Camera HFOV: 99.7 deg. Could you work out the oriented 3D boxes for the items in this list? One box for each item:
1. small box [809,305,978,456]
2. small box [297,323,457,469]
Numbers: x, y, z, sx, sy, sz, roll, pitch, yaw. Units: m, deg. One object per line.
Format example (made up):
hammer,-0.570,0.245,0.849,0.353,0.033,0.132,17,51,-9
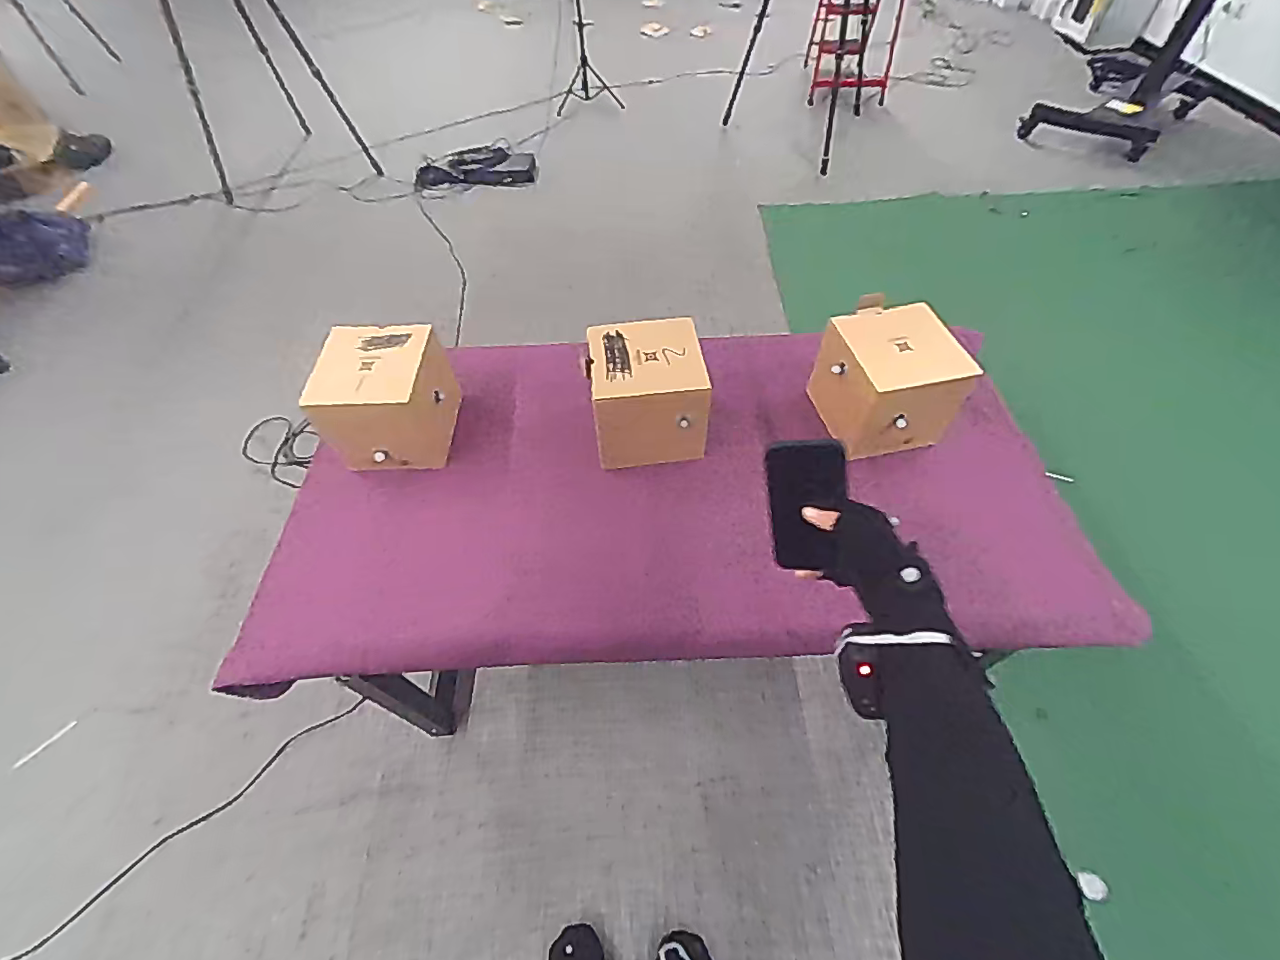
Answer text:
small box,0.399,-0.155,0.888,0.168,0.176,0.179,-11,54,-5
small box,-0.415,-0.137,0.893,0.168,0.176,0.179,-1,56,1
